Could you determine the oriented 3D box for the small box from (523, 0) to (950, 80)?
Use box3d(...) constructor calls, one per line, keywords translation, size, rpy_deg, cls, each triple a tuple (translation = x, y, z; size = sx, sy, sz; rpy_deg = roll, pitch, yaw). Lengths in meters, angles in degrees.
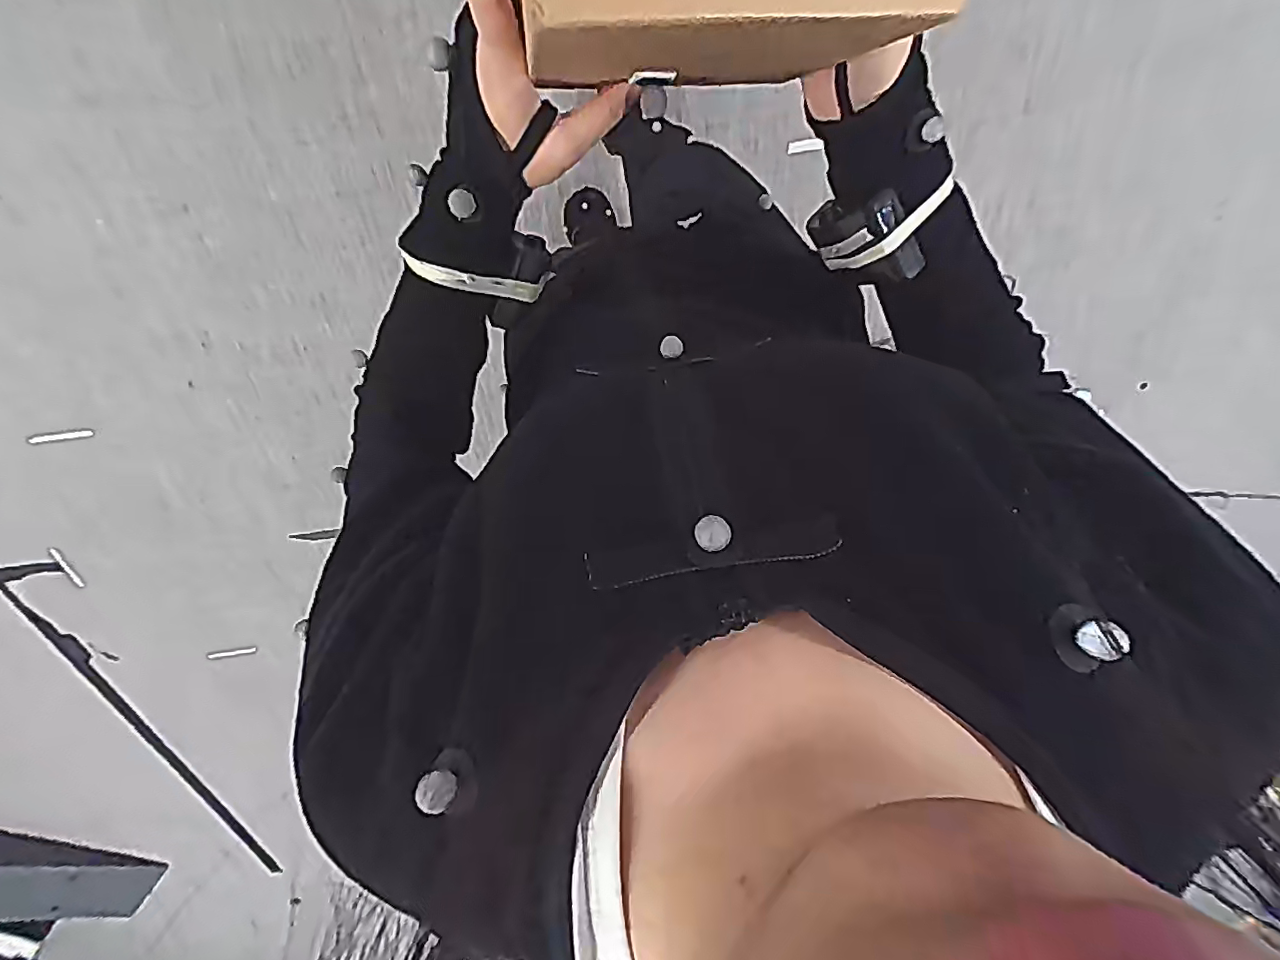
box3d(translation=(0.027, -0.283, 0.217), size=(0.168, 0.176, 0.179), rpy_deg=(-8, 121, -7), cls="small box")
